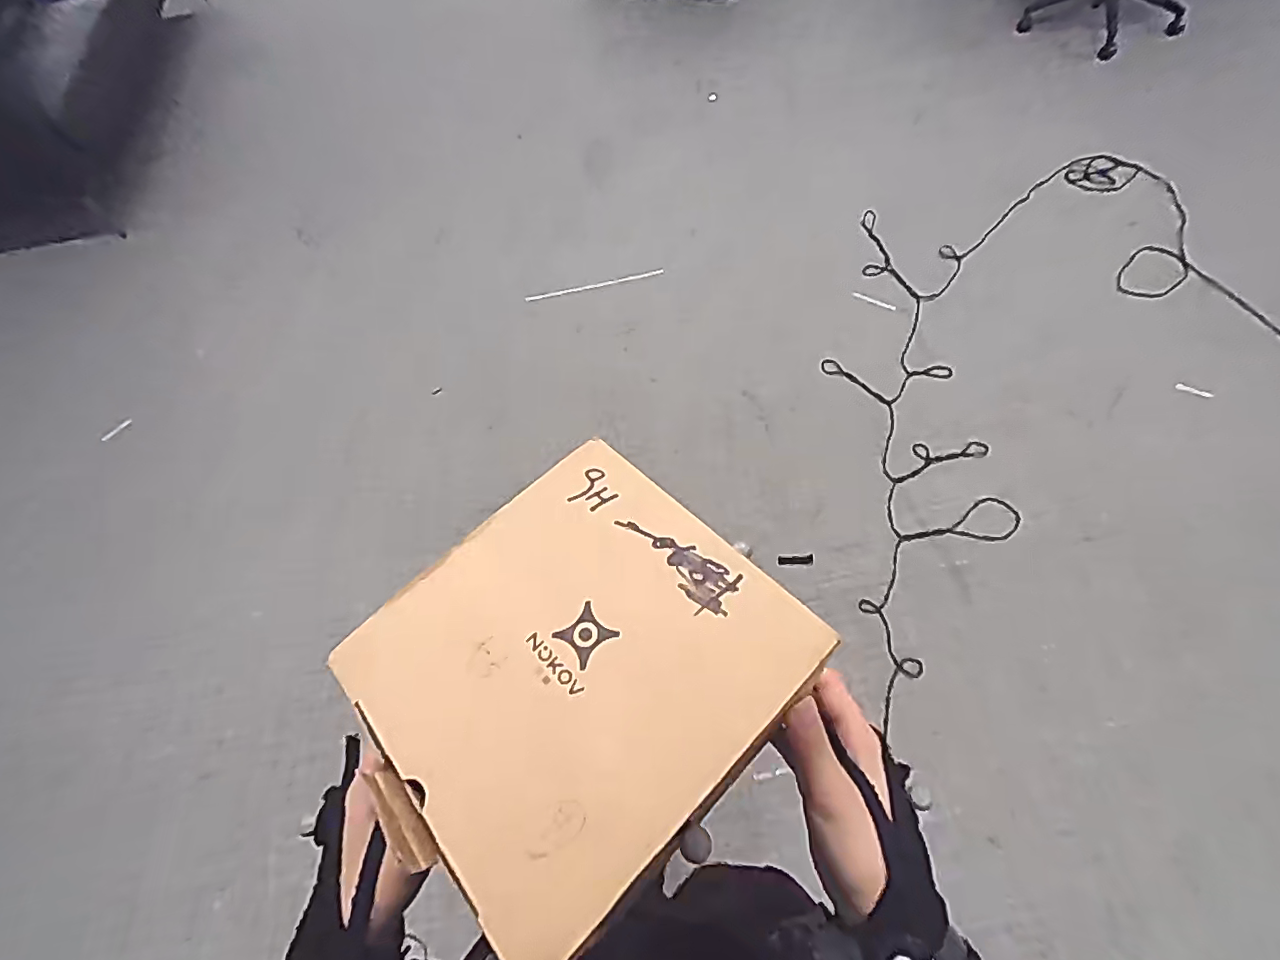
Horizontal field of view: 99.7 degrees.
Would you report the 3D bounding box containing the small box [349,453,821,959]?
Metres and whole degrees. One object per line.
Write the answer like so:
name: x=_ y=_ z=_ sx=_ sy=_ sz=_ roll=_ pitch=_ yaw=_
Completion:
small box: x=-0.020 y=0.125 z=0.323 sx=0.179 sy=0.176 sz=0.168 roll=-41 pitch=61 yaw=-17
